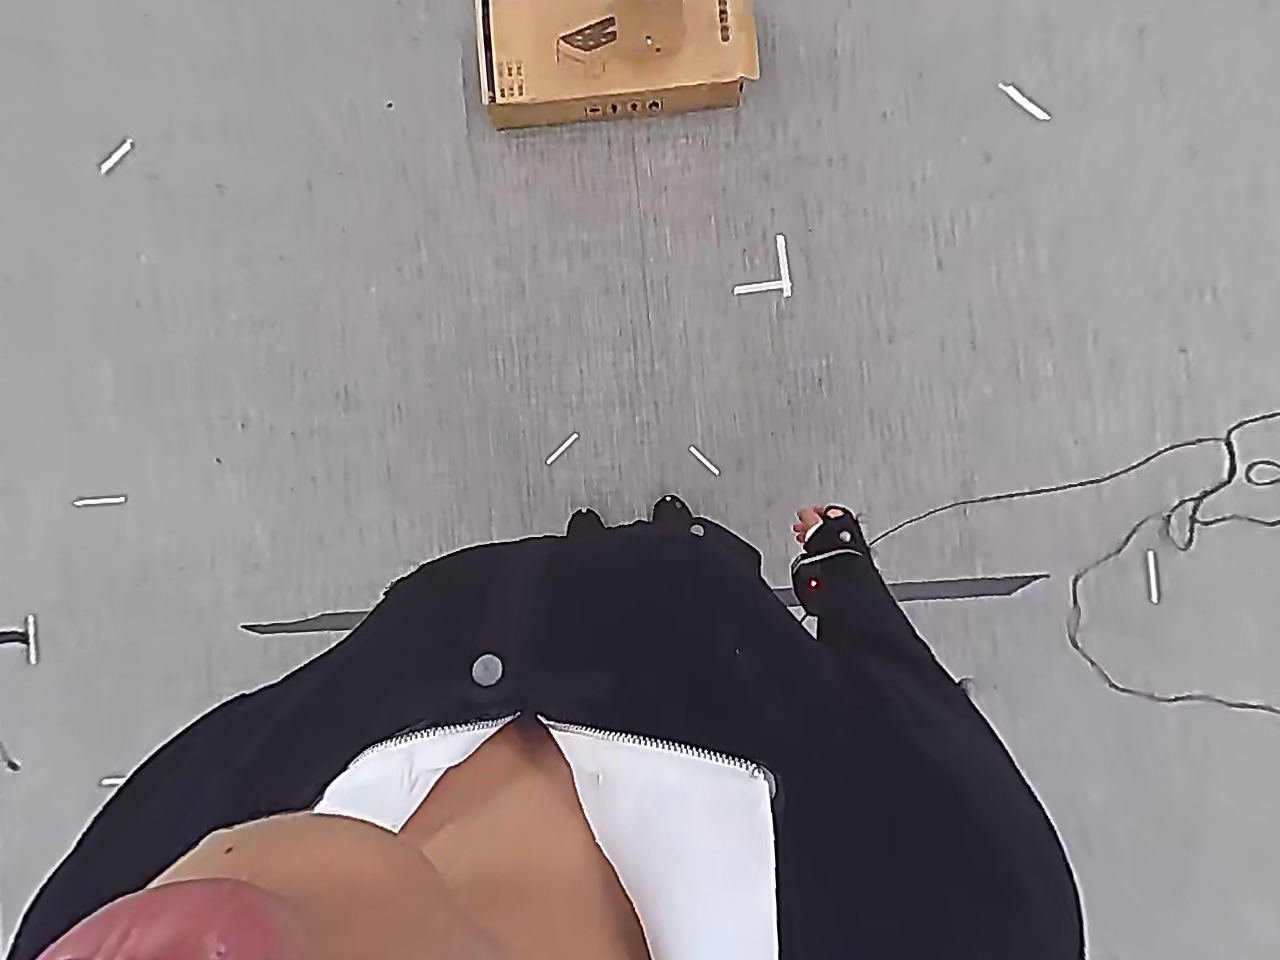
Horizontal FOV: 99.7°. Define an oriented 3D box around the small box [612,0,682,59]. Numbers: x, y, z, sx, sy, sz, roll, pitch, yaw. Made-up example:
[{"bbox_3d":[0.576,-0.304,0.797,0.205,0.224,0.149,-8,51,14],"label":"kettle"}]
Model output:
[{"bbox_3d":[0.014,-1.205,1.349,0.168,0.176,0.179,-5,88,3],"label":"small box"}]
